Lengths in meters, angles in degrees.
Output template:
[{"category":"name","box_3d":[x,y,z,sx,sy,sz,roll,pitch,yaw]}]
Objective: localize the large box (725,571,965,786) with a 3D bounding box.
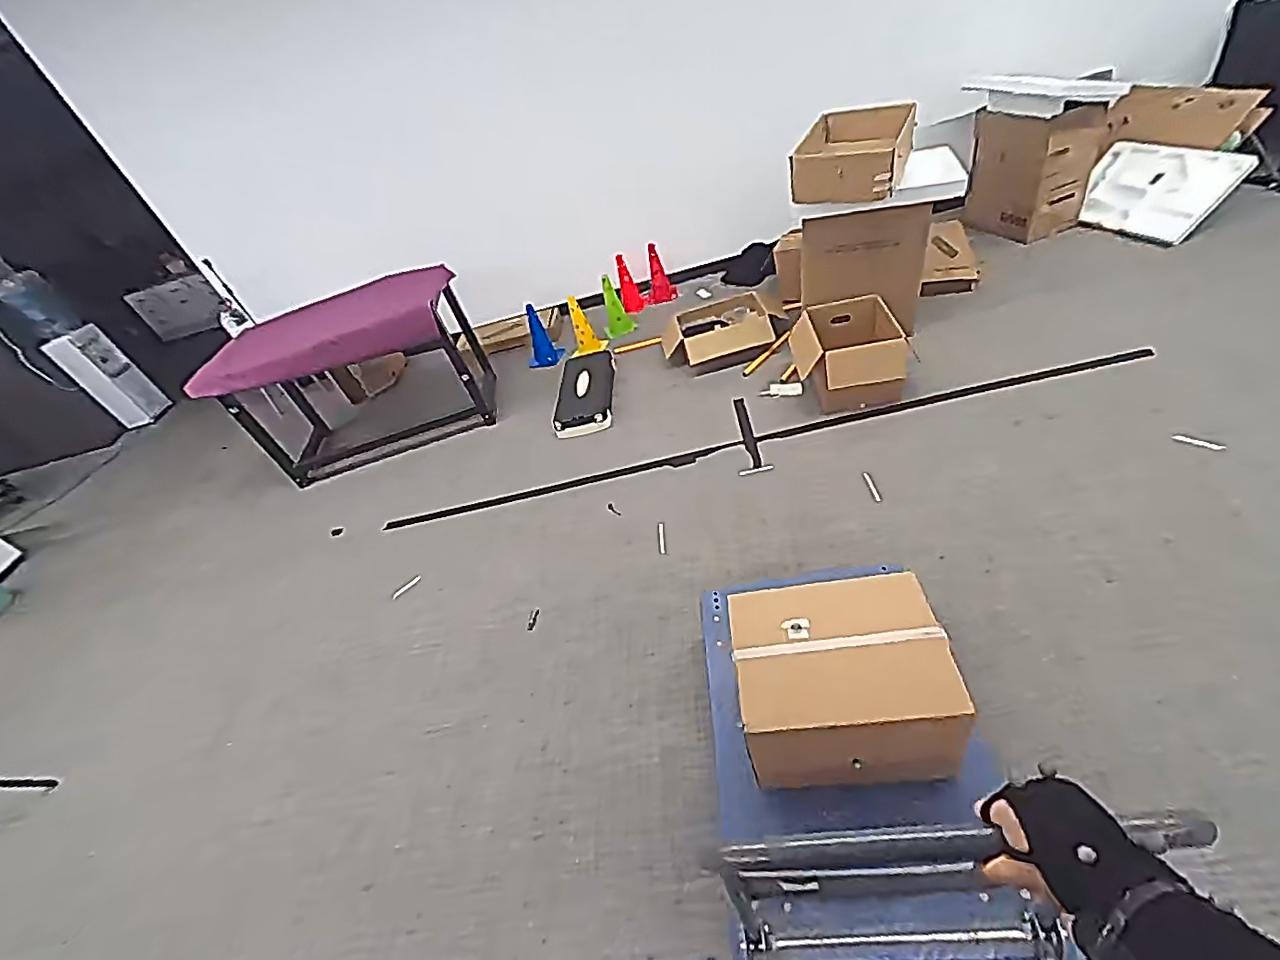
[{"category":"large box","box_3d":[0.428,0.446,1.197,0.408,0.320,0.320,-11,40,10]}]
